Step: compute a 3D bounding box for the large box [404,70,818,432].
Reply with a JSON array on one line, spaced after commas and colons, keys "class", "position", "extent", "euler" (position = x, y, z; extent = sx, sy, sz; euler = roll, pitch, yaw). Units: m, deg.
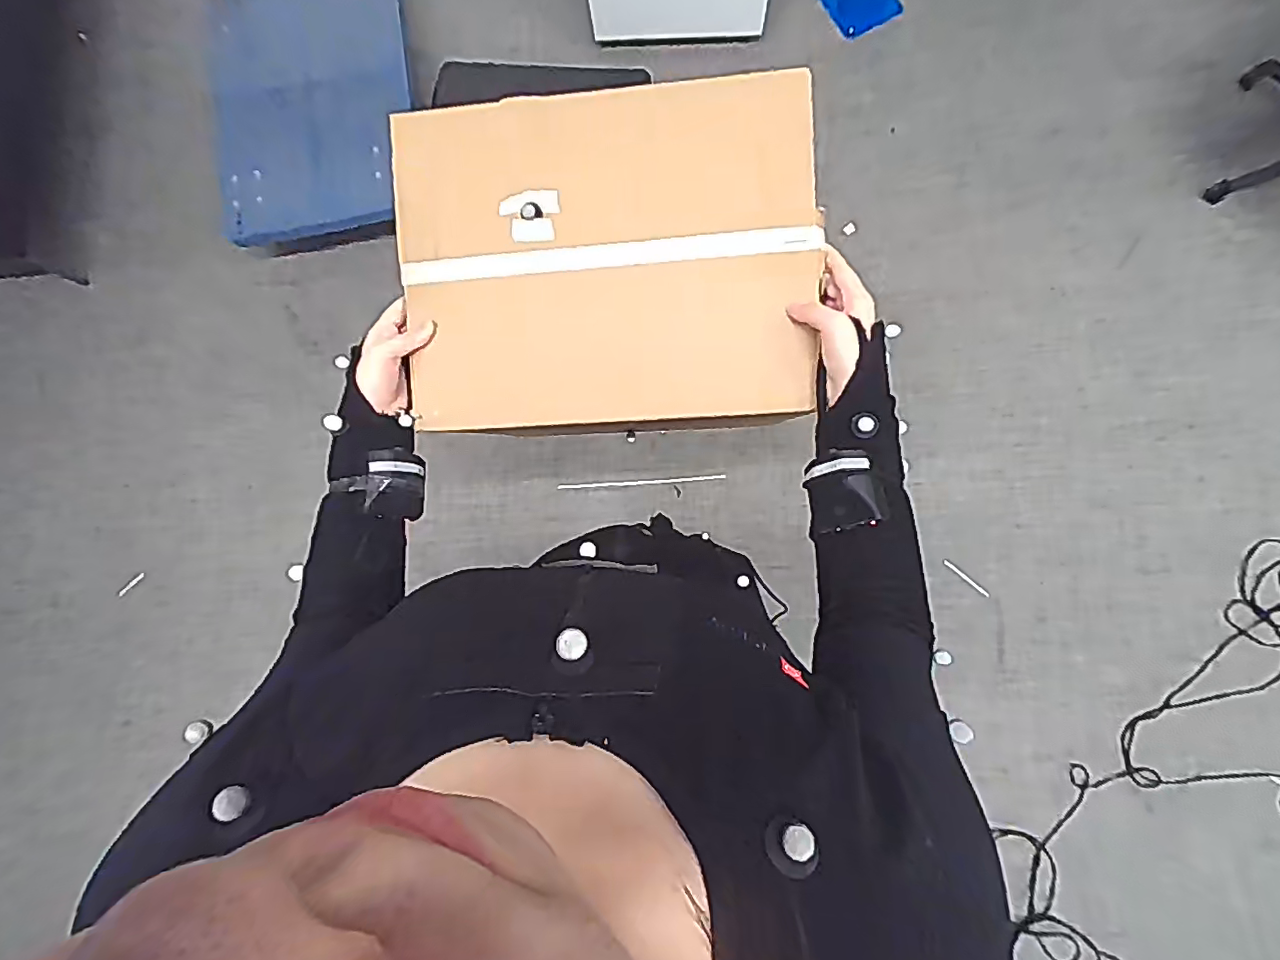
[{"class": "large box", "position": [-0.015, -0.228, 0.682], "extent": [0.408, 0.320, 0.320], "euler": [-3, 93, 7]}]
